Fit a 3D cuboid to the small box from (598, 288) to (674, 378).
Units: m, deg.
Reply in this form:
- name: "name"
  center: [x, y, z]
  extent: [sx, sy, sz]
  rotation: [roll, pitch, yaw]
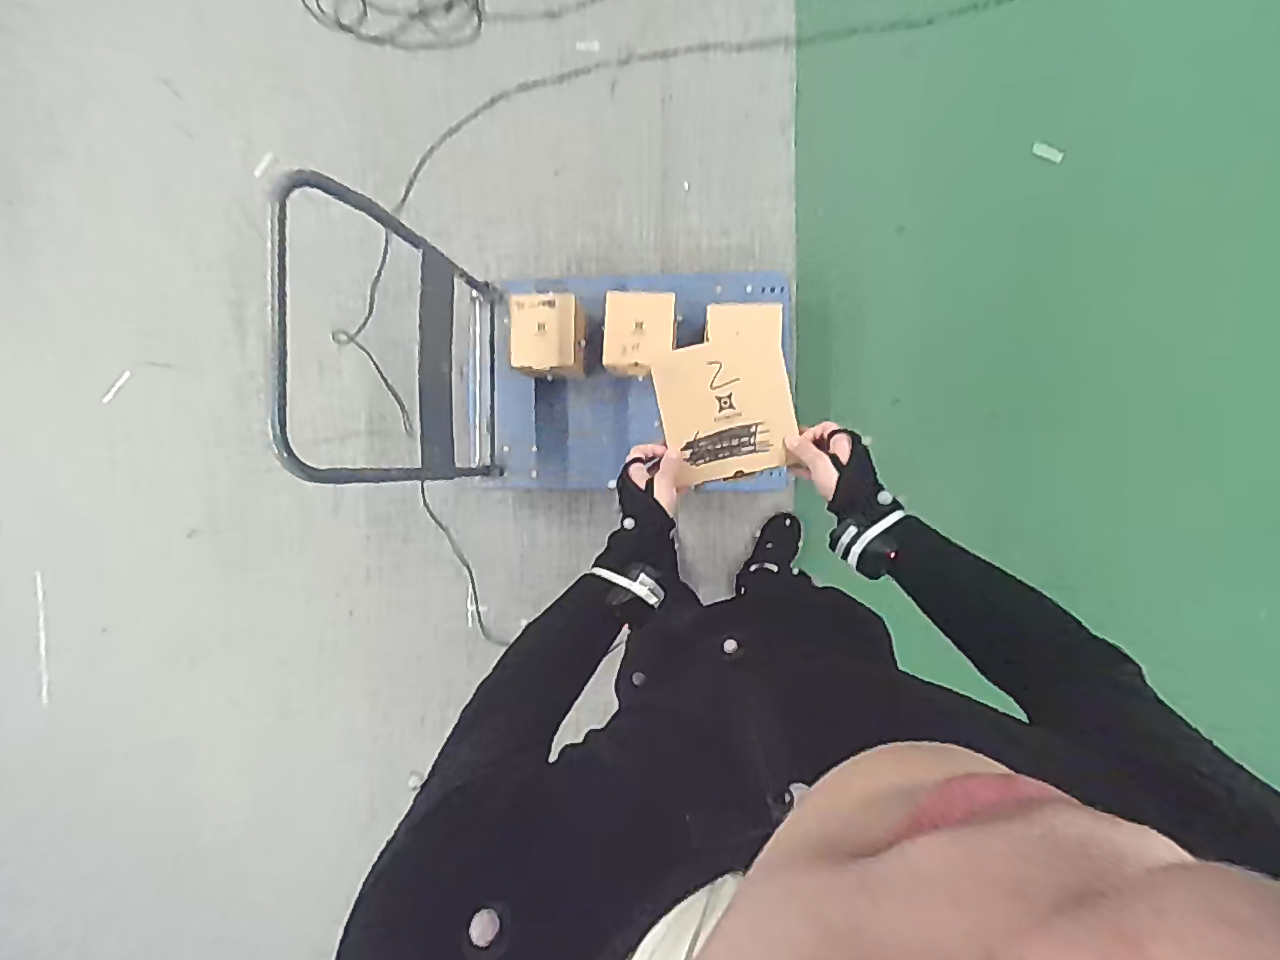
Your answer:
- name: "small box"
  center: [-0.005, -0.362, 1.351]
  extent: [0.168, 0.176, 0.179]
  rotation: [4, 92, 6]

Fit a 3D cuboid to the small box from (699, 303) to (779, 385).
- name: "small box"
  center: [0.238, -0.328, 1.330]
  extent: [0.179, 0.176, 0.168]
  rotation: [2, 92, 6]

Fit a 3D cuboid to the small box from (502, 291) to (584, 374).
- name: "small box"
  center: [-0.240, -0.367, 1.372]
  extent: [0.168, 0.176, 0.179]
  rotation: [2, 92, 5]
